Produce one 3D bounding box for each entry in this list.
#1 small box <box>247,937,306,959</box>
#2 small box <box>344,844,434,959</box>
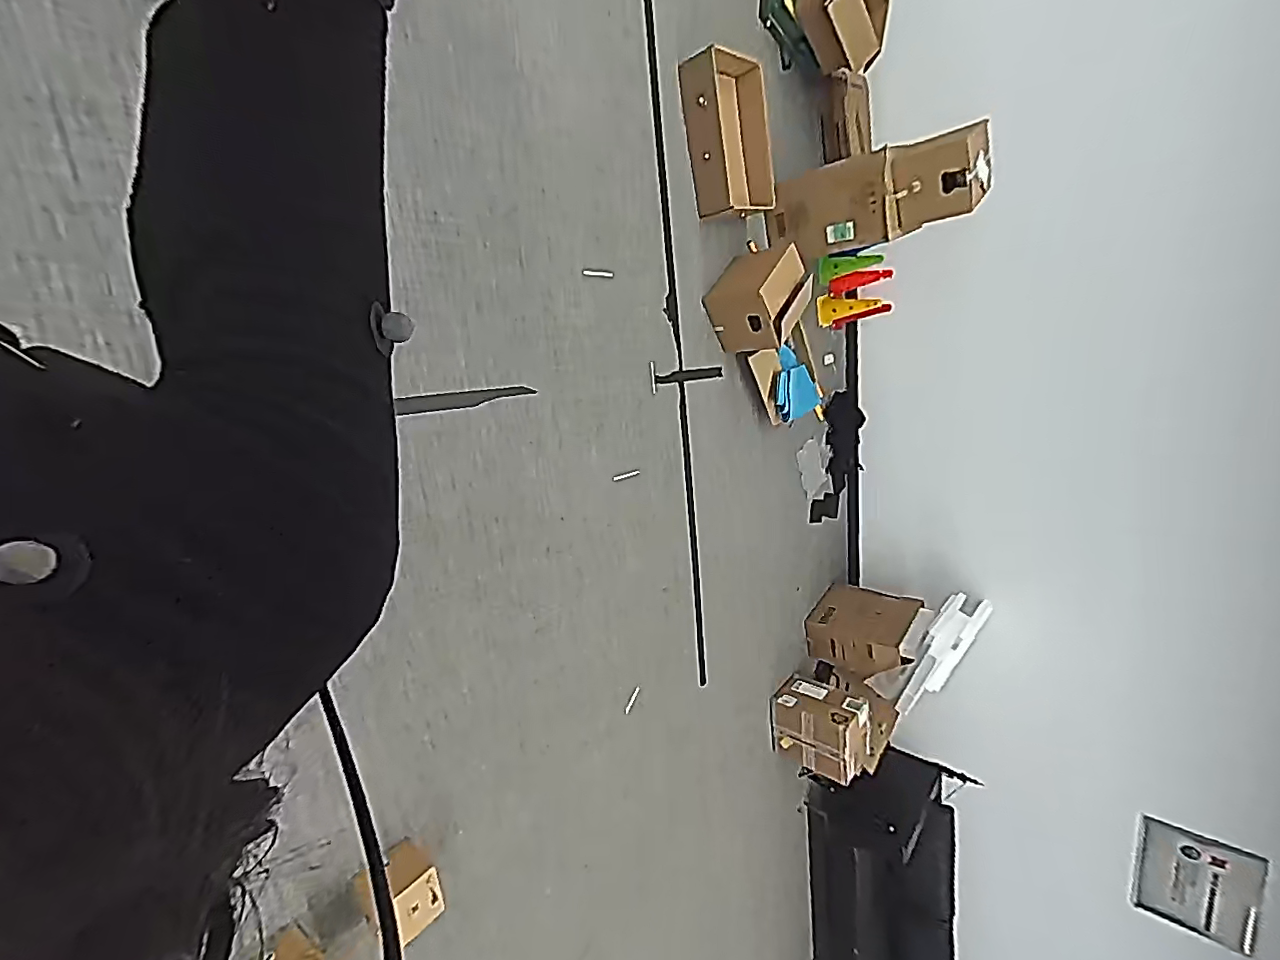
[{"bbox_3d":[-0.916,1.299,1.344,0.168,0.176,0.179,-41,122,-39],"label":"small box"},{"bbox_3d":[-0.724,1.207,1.550,0.179,0.176,0.168,-19,108,-46],"label":"small box"}]
